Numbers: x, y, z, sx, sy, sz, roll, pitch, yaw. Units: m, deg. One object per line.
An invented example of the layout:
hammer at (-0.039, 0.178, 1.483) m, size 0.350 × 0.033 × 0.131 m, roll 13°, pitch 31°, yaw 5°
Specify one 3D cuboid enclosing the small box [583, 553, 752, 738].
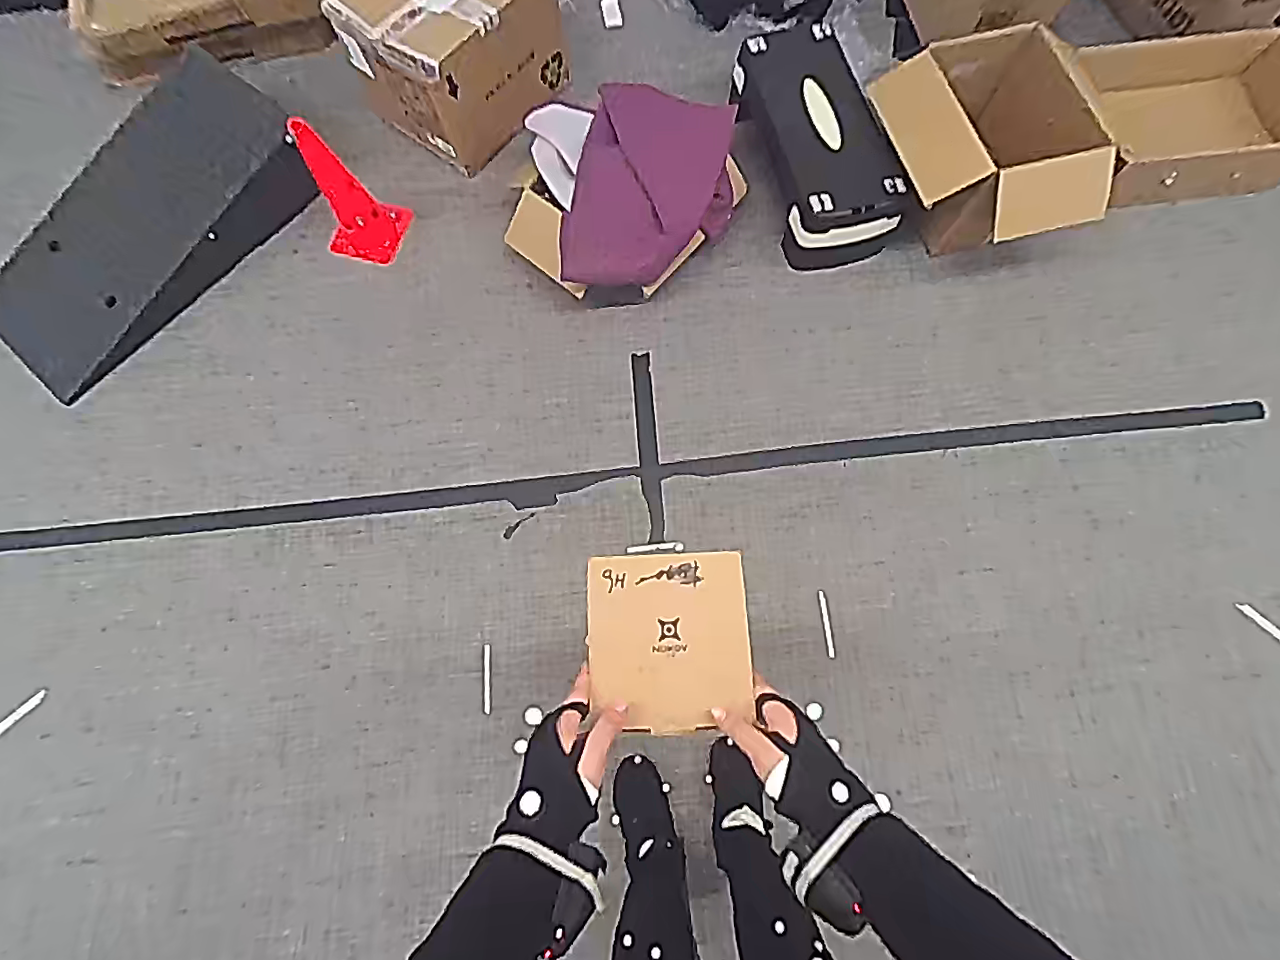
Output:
small box at (0.028, 0.181, 0.614) m, size 0.168 × 0.176 × 0.179 m, roll -2°, pitch 75°, yaw 1°
